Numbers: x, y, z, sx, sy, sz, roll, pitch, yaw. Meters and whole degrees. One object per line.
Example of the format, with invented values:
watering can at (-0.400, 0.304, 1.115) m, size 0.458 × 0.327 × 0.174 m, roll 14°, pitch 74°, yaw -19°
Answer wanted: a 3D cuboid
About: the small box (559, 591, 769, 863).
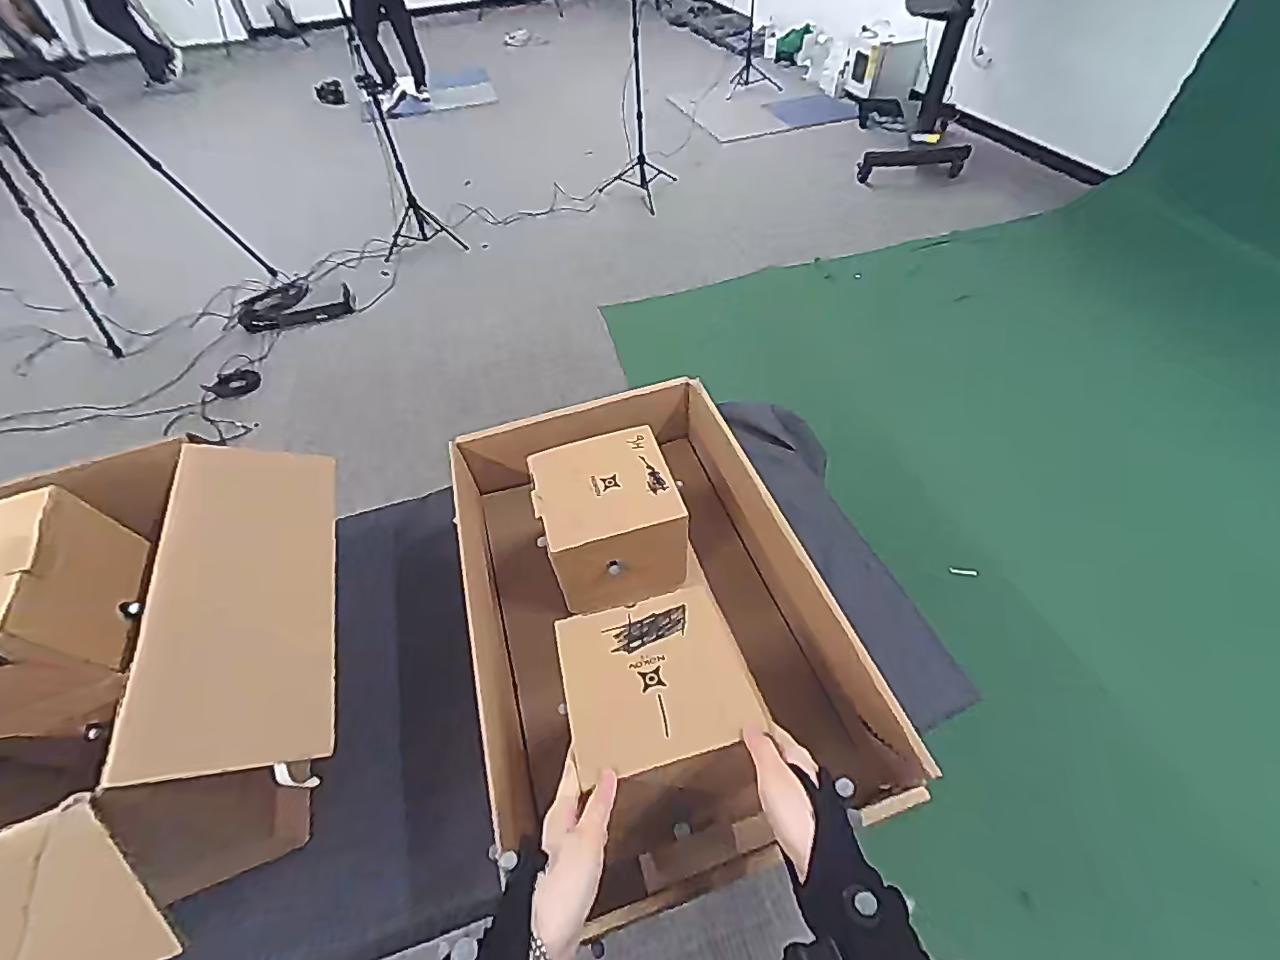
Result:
small box at (0.018, 0.250, 0.561) m, size 0.168 × 0.176 × 0.179 m, roll -13°, pitch 38°, yaw -8°
